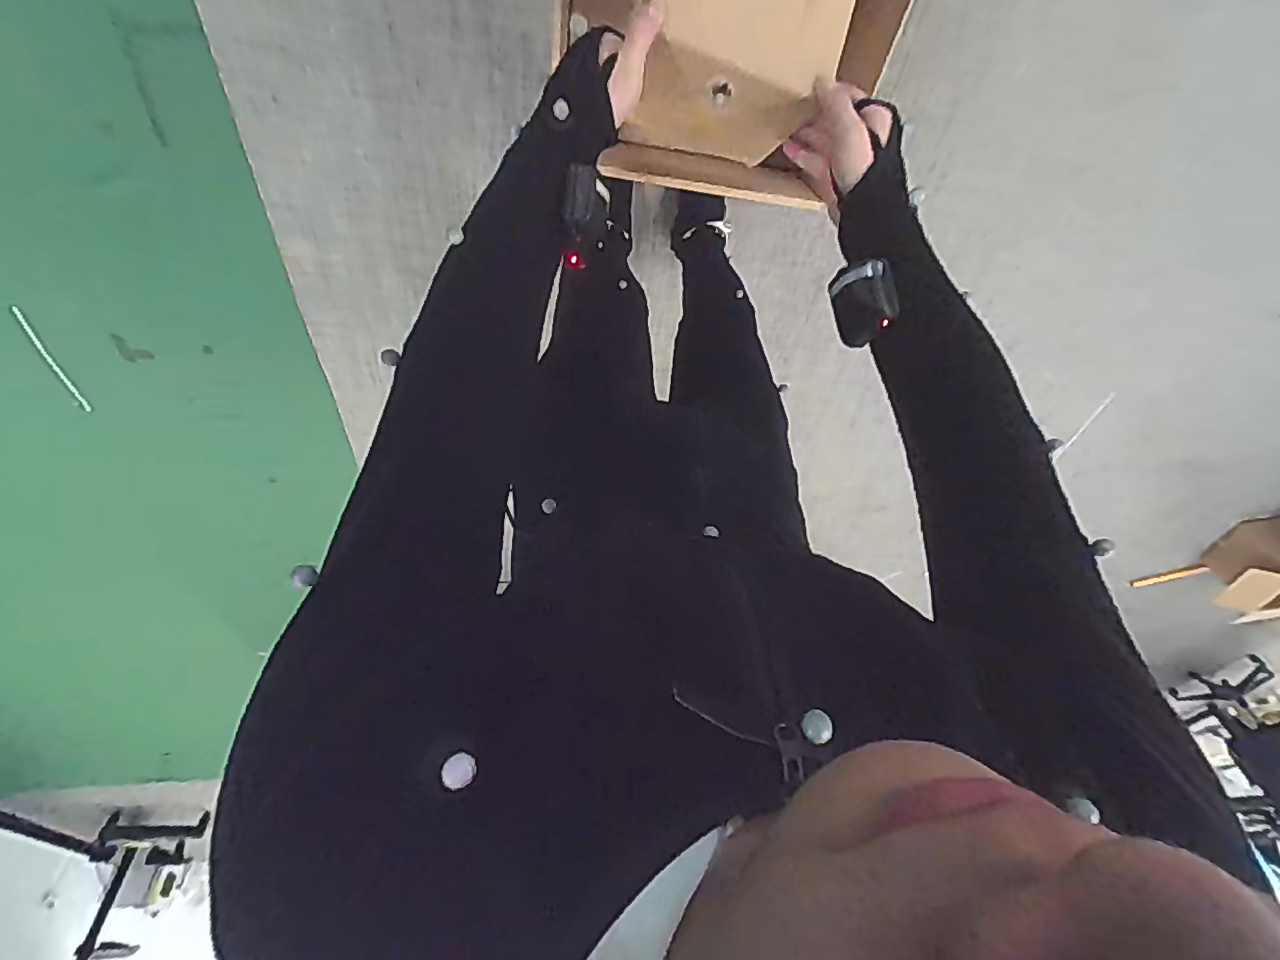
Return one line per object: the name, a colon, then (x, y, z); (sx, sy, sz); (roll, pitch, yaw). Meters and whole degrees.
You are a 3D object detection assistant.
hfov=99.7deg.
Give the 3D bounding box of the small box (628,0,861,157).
small box: (0.098, -0.458, 0.539); (0.179, 0.176, 0.168); (12, 98, -15)
